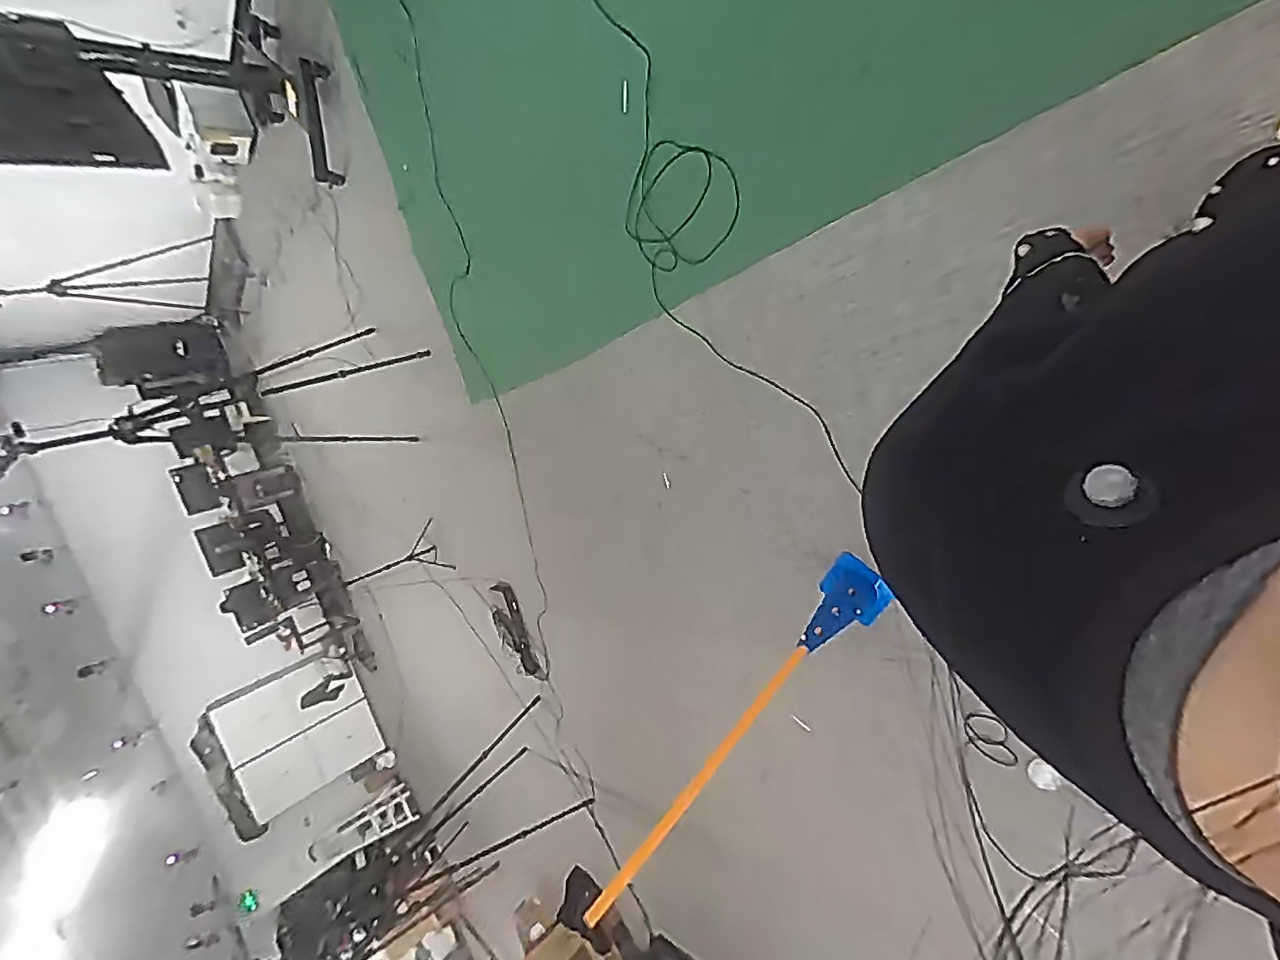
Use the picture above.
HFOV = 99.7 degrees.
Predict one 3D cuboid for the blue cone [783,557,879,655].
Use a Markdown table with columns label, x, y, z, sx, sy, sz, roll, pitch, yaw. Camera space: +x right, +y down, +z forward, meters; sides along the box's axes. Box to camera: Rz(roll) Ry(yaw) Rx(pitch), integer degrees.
| label | x | y | z | sx | sy | sz | roll | pitch | yaw |
| --- | --- | --- | --- | --- | --- | --- | --- | --- | --- |
| blue cone | 0.554 | 0.420 | 1.649 | 0.192 | 0.380 | 0.193 | 39 | 135 | 25 |
